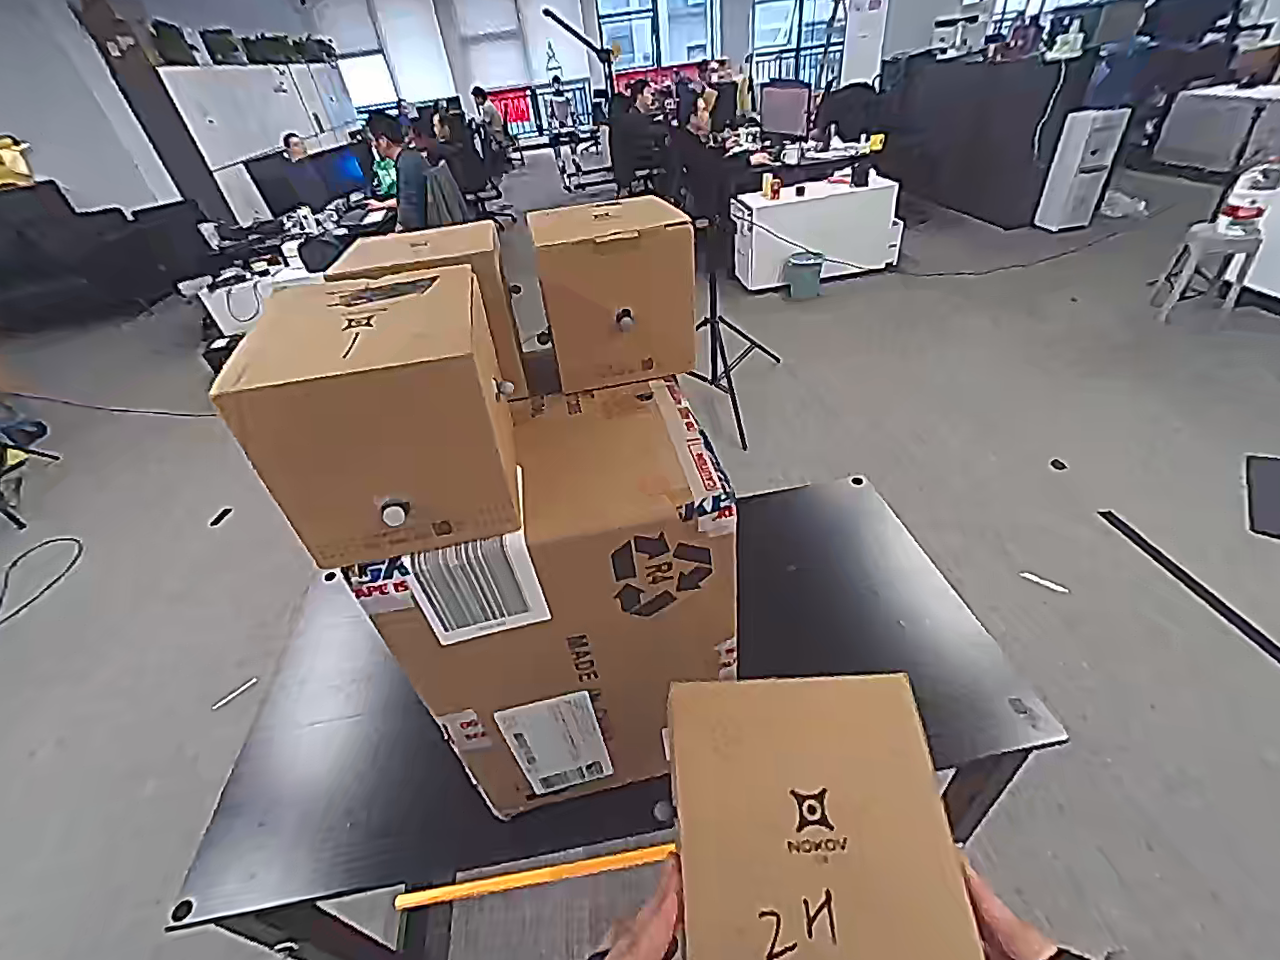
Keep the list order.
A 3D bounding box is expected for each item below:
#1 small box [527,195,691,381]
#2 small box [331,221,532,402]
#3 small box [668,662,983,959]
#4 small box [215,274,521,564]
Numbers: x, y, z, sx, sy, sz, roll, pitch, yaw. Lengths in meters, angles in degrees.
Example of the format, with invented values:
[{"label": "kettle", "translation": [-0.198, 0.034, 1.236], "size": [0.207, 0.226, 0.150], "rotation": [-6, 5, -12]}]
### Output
[{"label": "small box", "translation": [-0.036, -0.230, 0.660], "size": [0.168, 0.176, 0.179], "rotation": [-11, 38, -7]}, {"label": "small box", "translation": [-0.232, -0.194, 0.646], "size": [0.168, 0.176, 0.179], "rotation": [-14, 37, -7]}, {"label": "small box", "translation": [0.106, 0.242, 0.398], "size": [0.168, 0.176, 0.179], "rotation": [-2, 60, 2]}, {"label": "small box", "translation": [-0.203, -0.057, 0.465], "size": [0.168, 0.176, 0.179], "rotation": [-11, 41, -7]}]
